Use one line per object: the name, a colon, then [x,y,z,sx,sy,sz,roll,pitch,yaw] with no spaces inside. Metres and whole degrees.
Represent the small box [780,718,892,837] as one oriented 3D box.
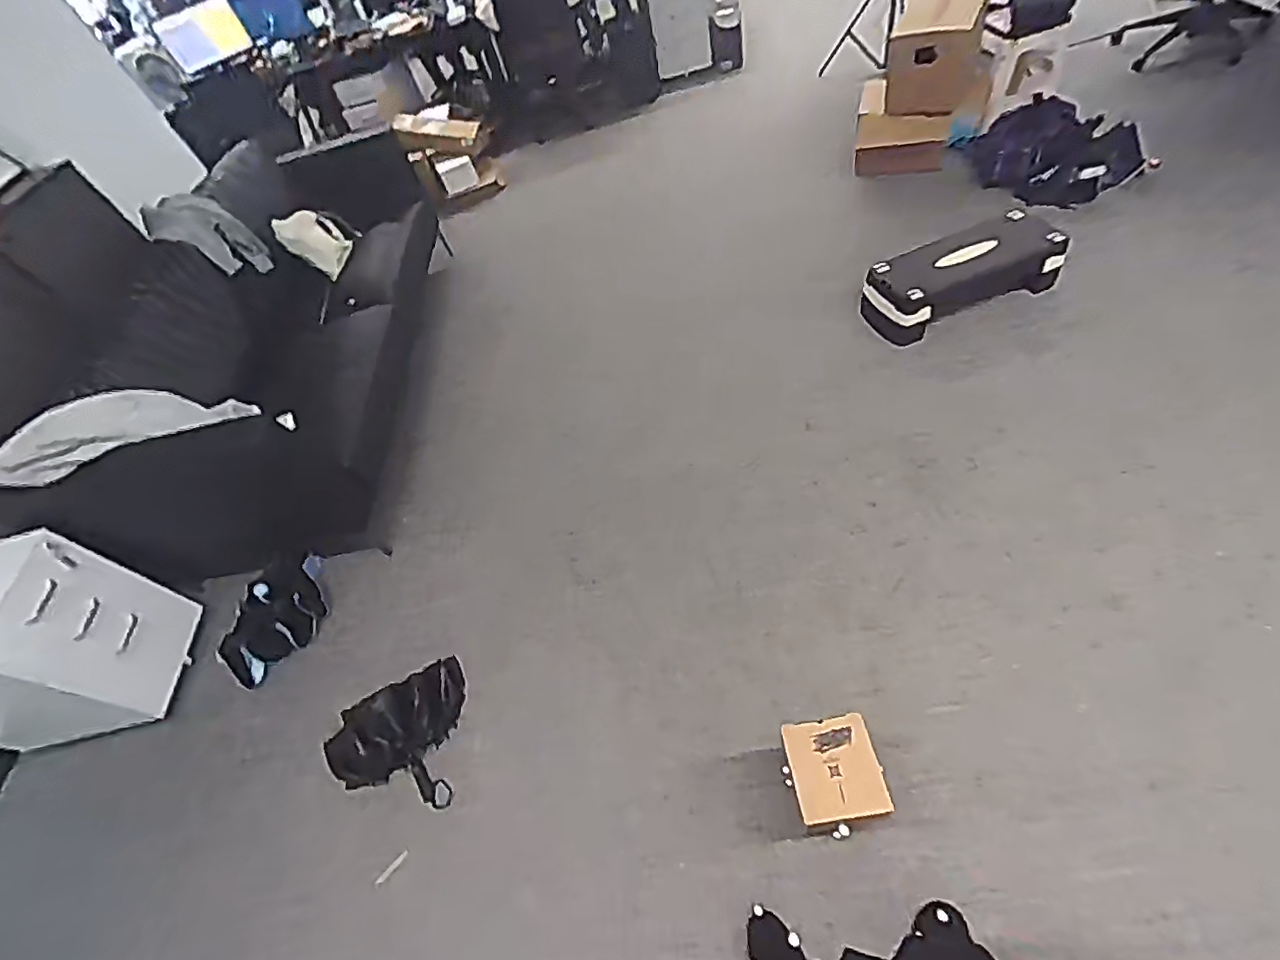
small box: [0.388,0.608,1.102,0.168,0.176,0.179,-14,52,7]
